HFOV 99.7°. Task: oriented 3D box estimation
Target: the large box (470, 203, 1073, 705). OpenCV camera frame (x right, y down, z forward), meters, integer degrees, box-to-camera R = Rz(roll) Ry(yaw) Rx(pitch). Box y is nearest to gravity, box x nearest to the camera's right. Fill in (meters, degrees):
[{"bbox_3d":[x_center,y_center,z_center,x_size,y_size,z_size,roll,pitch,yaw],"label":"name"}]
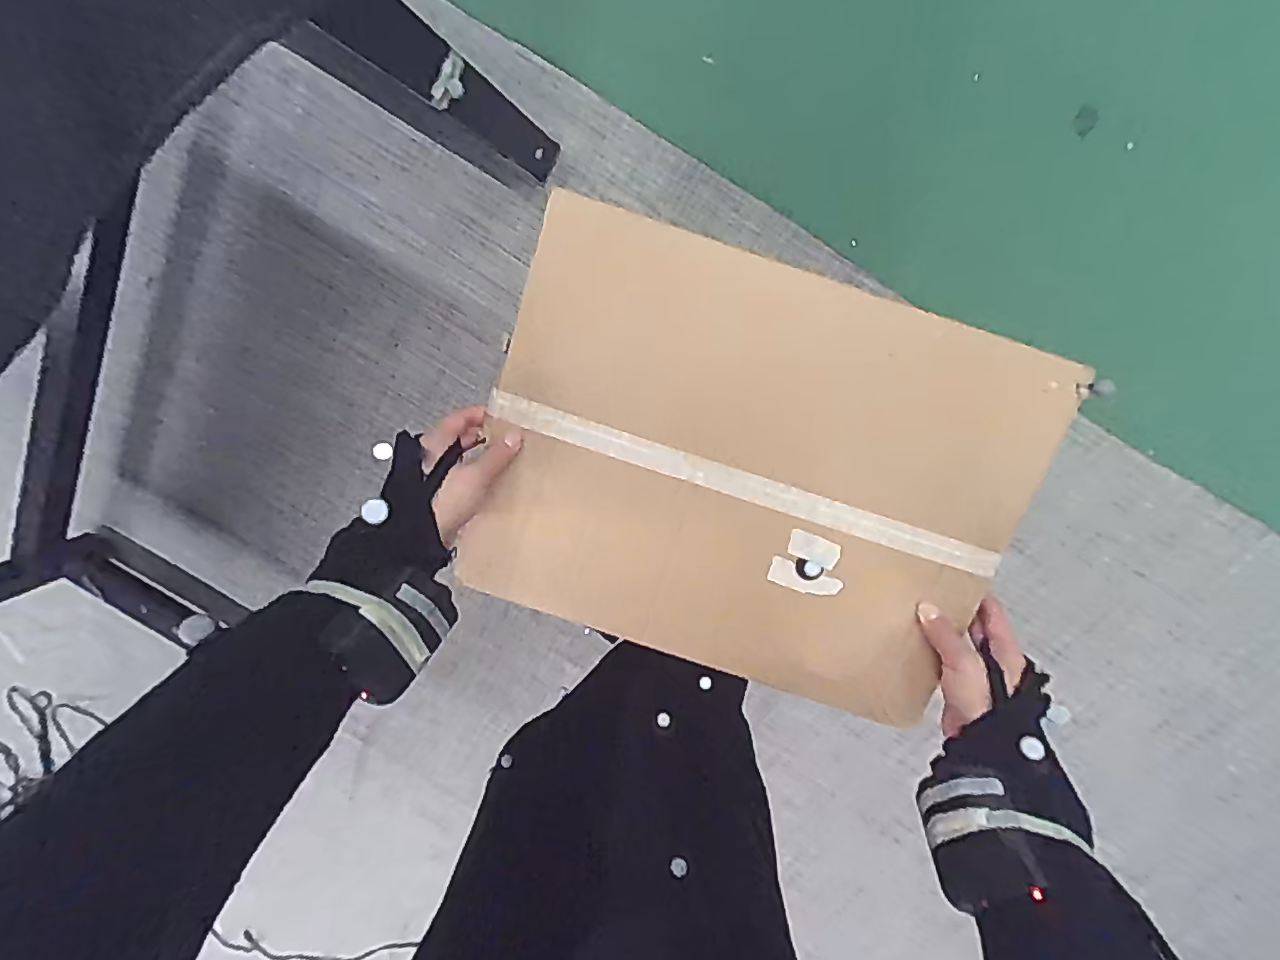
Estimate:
[{"bbox_3d":[0.092,-0.035,0.568,0.408,0.320,0.320,17,103,-1],"label":"large box"}]
